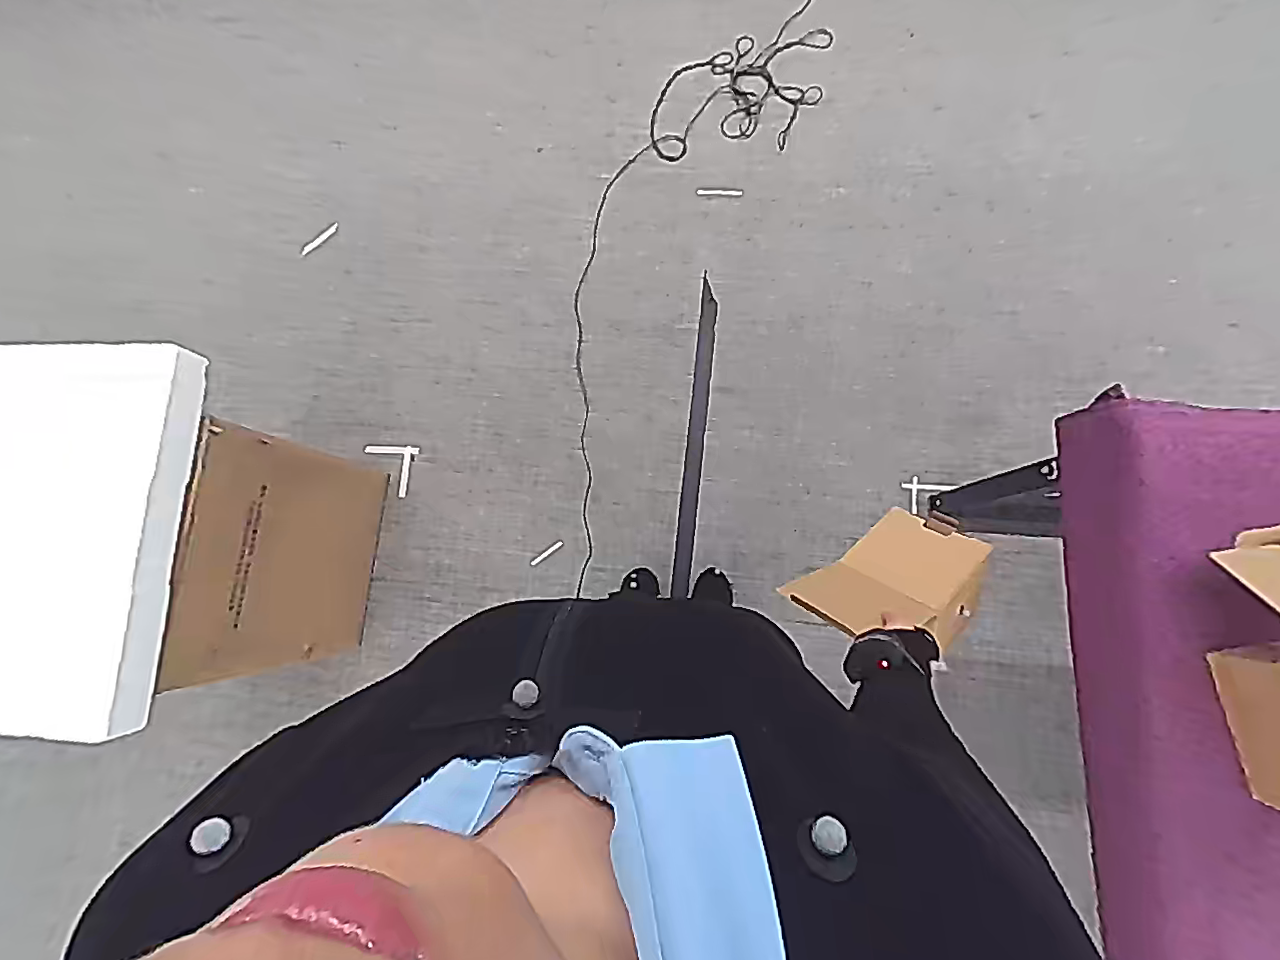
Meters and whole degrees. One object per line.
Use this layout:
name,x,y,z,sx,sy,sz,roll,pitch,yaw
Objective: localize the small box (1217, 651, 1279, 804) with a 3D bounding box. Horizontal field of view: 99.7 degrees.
small box,0.794,0.277,0.578,0.168,0.176,0.179,-9,80,4
